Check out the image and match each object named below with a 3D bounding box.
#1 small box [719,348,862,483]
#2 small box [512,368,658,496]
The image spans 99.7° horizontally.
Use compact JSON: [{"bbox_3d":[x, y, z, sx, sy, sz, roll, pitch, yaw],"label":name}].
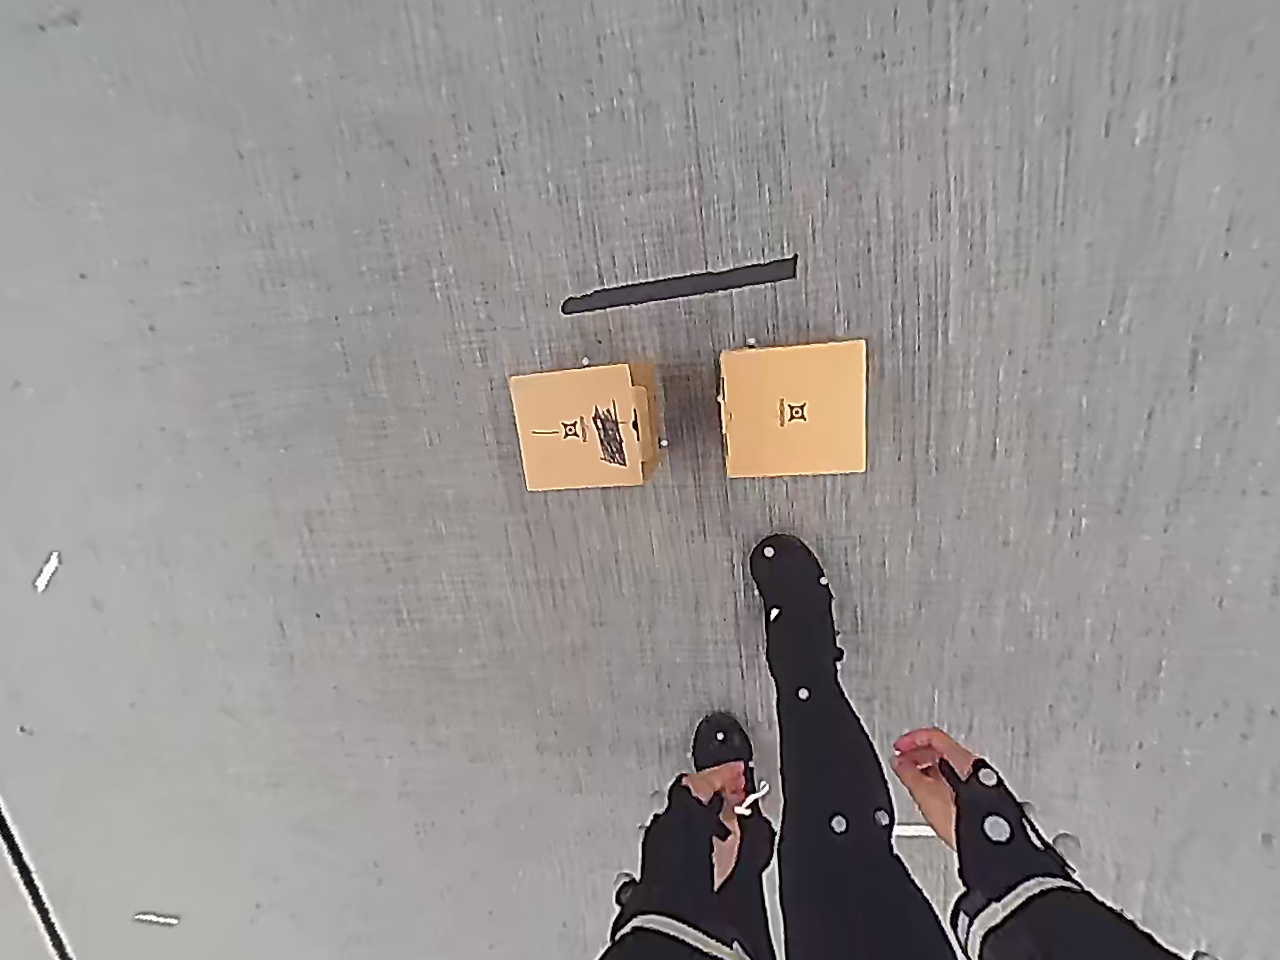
[{"bbox_3d":[0.206,-0.097,0.770,0.179,0.176,0.168,-2,104,12],"label":"small box"},{"bbox_3d":[-0.071,-0.079,0.826,0.179,0.176,0.168,-3,103,13],"label":"small box"}]
